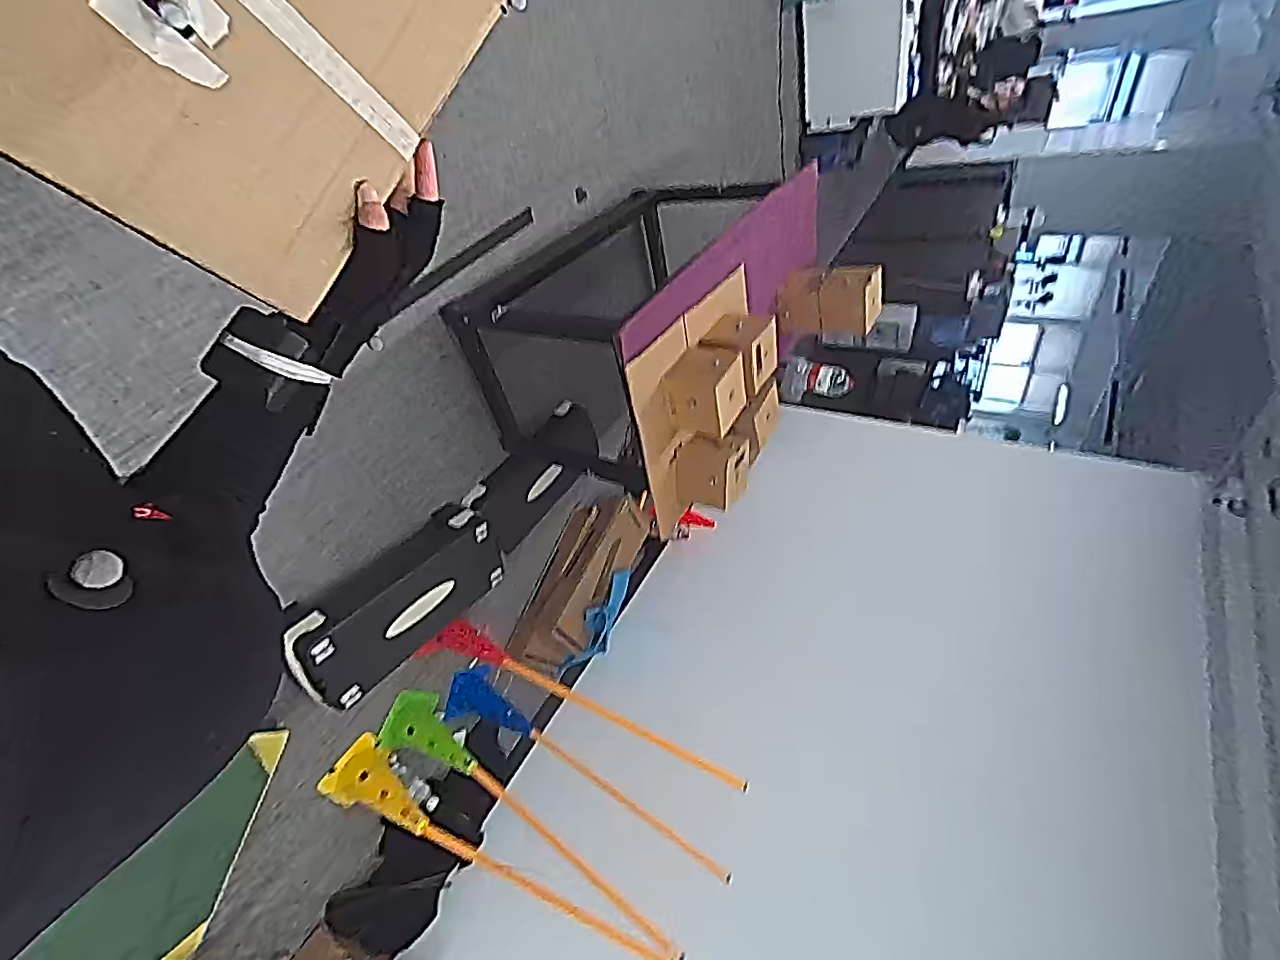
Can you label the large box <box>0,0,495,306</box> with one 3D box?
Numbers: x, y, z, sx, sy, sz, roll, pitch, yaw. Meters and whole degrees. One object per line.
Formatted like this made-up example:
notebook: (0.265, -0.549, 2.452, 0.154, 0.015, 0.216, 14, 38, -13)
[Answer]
large box: (-0.391, -0.381, 0.354, 0.320, 0.320, 0.408, -60, 144, -3)
